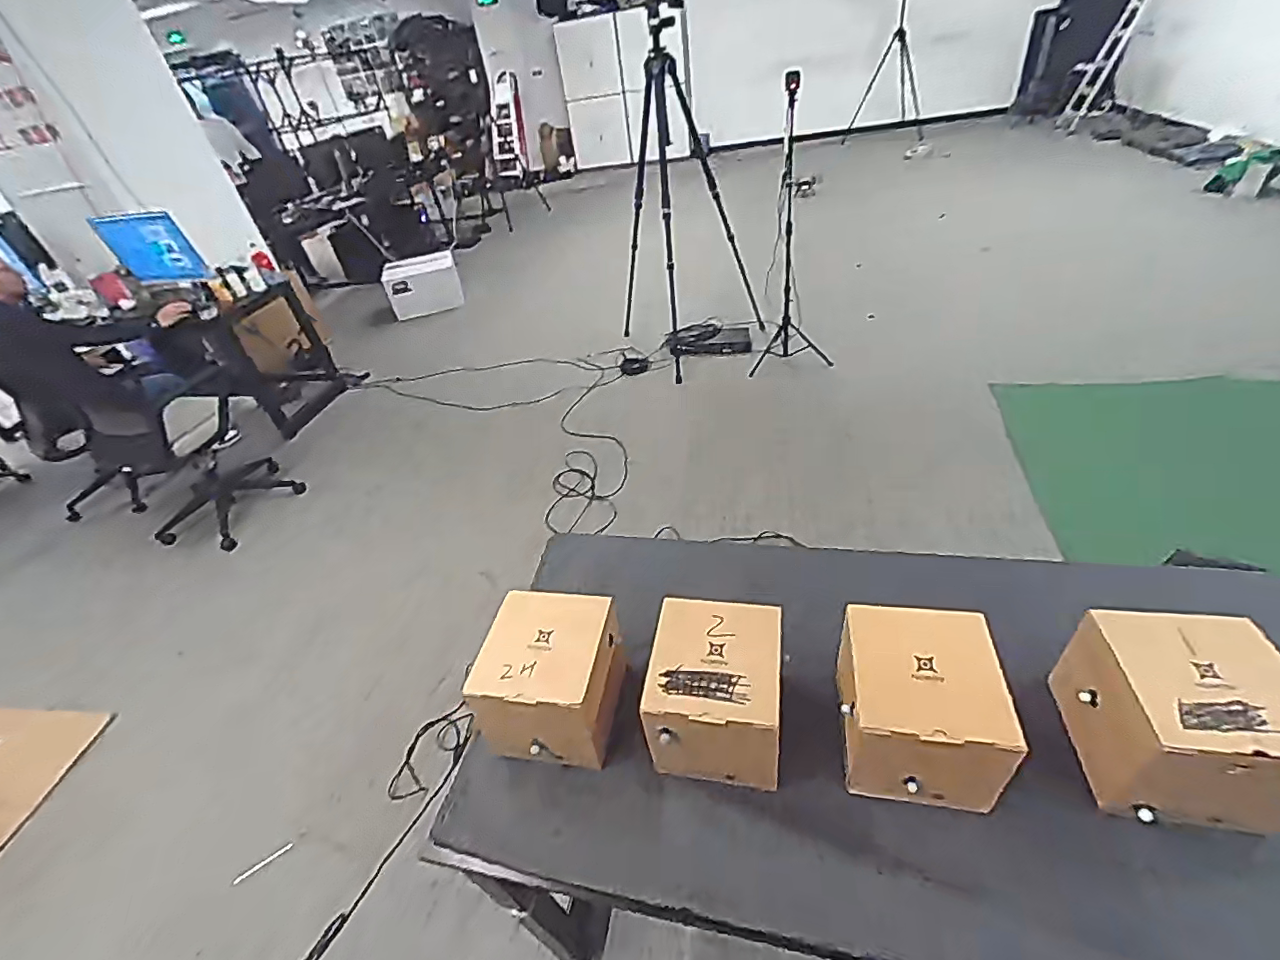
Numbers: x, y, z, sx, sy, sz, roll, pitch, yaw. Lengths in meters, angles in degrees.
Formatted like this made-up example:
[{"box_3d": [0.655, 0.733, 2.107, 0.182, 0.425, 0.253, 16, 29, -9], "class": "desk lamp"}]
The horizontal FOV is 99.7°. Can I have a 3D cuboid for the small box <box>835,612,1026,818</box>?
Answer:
[{"box_3d": [0.350, 0.297, 0.695, 0.168, 0.176, 0.179, 1, 40, 13], "class": "small box"}]

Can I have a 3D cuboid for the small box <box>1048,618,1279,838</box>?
[{"box_3d": [0.628, 0.290, 0.639, 0.168, 0.176, 0.179, 1, 38, 13], "class": "small box"}]

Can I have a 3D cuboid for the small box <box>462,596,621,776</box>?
[{"box_3d": [-0.128, 0.295, 0.789, 0.168, 0.176, 0.179, 1, 38, 12], "class": "small box"}]
